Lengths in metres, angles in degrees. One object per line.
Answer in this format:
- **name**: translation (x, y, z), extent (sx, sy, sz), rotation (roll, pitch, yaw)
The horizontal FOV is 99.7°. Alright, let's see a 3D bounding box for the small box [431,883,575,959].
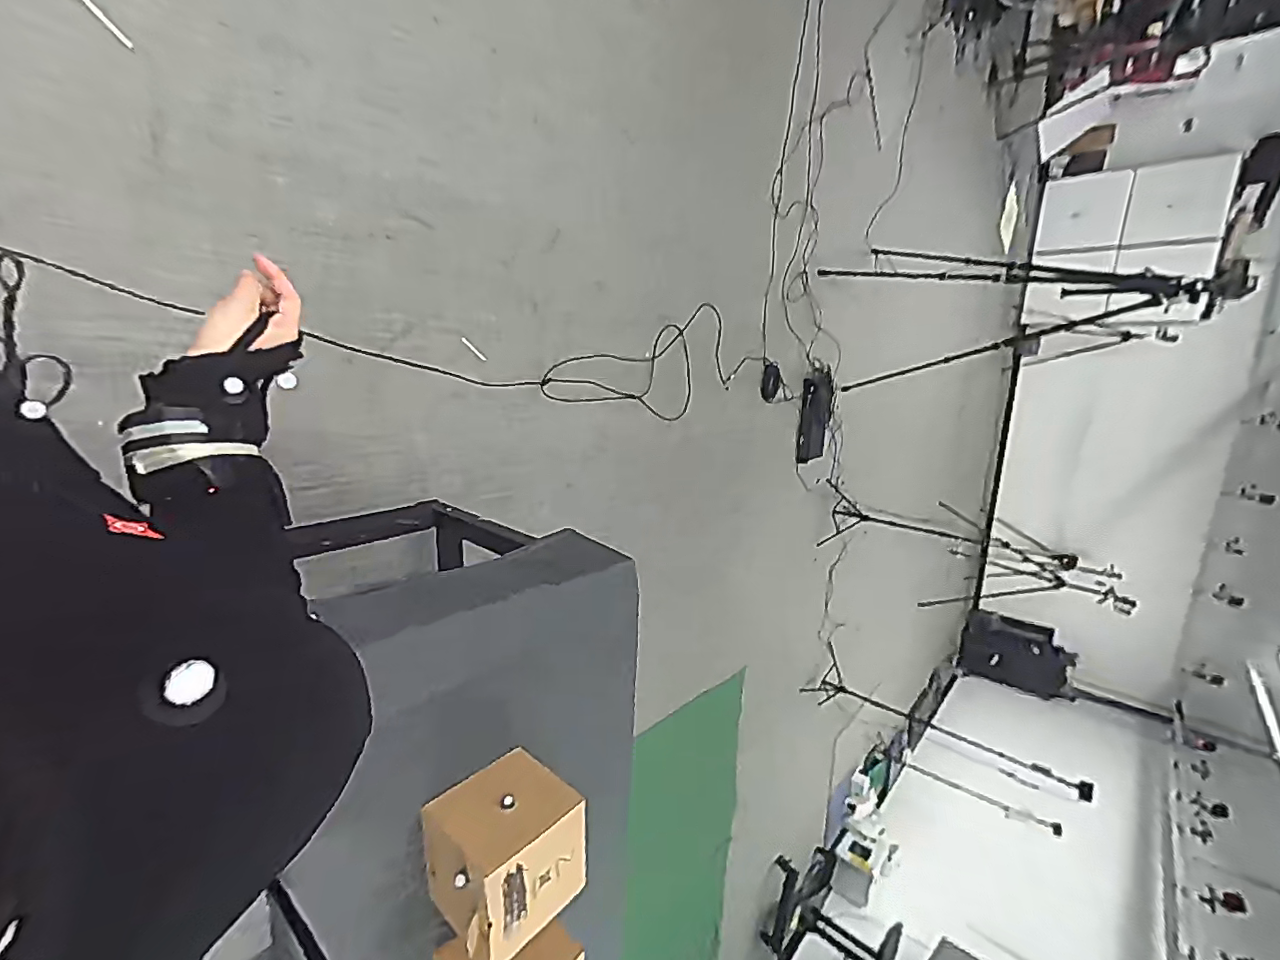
- **small box**: translation (-0.232, 0.823, 0.879), extent (0.179, 0.176, 0.168), rotation (-4, 105, -50)
